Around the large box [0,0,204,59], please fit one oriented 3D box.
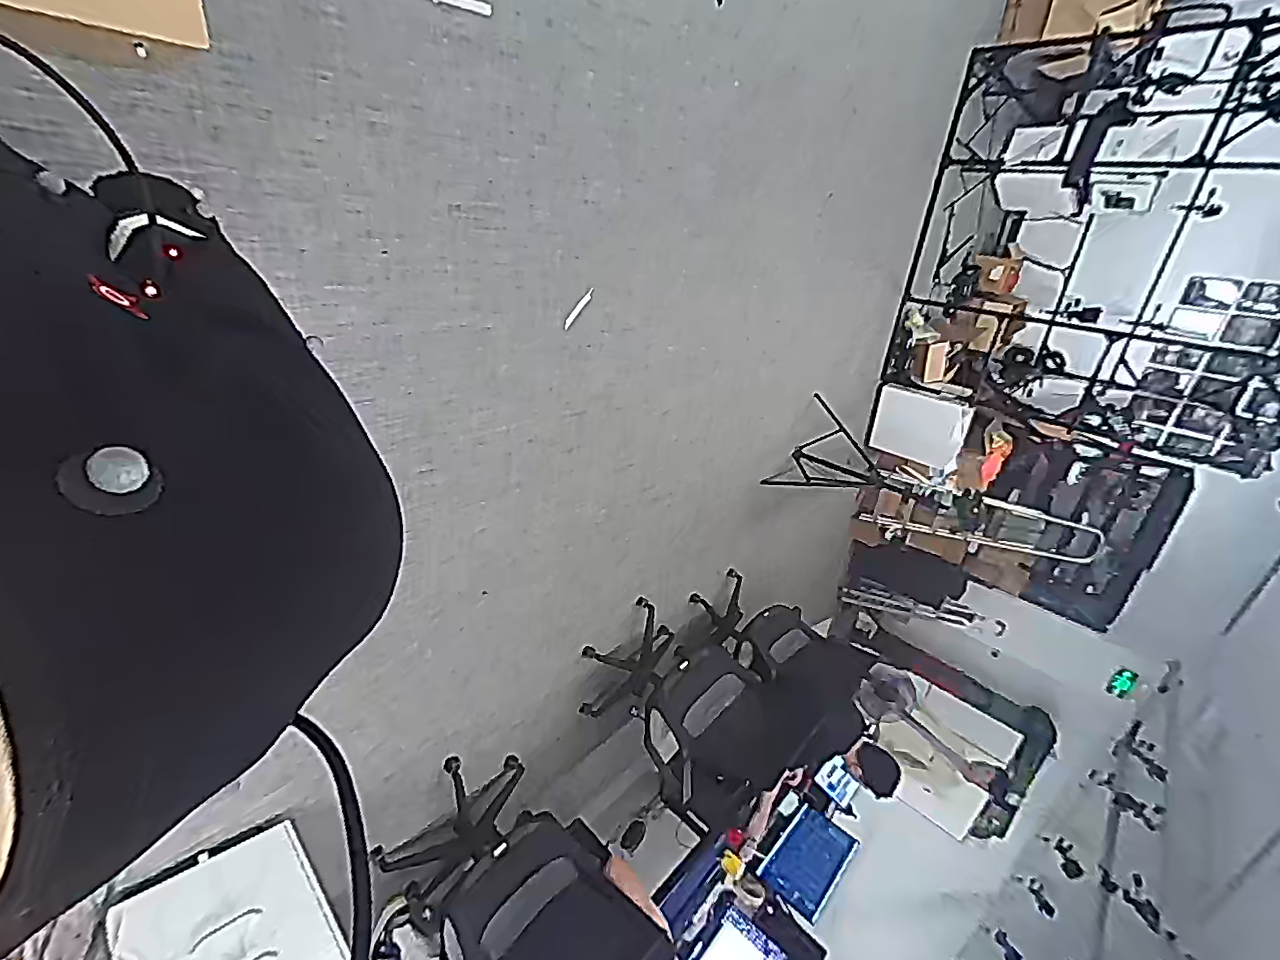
[{"bbox_3d":[-0.838,-0.738,0.640,0.408,0.320,0.320,-22,127,-44],"label":"large box"}]
